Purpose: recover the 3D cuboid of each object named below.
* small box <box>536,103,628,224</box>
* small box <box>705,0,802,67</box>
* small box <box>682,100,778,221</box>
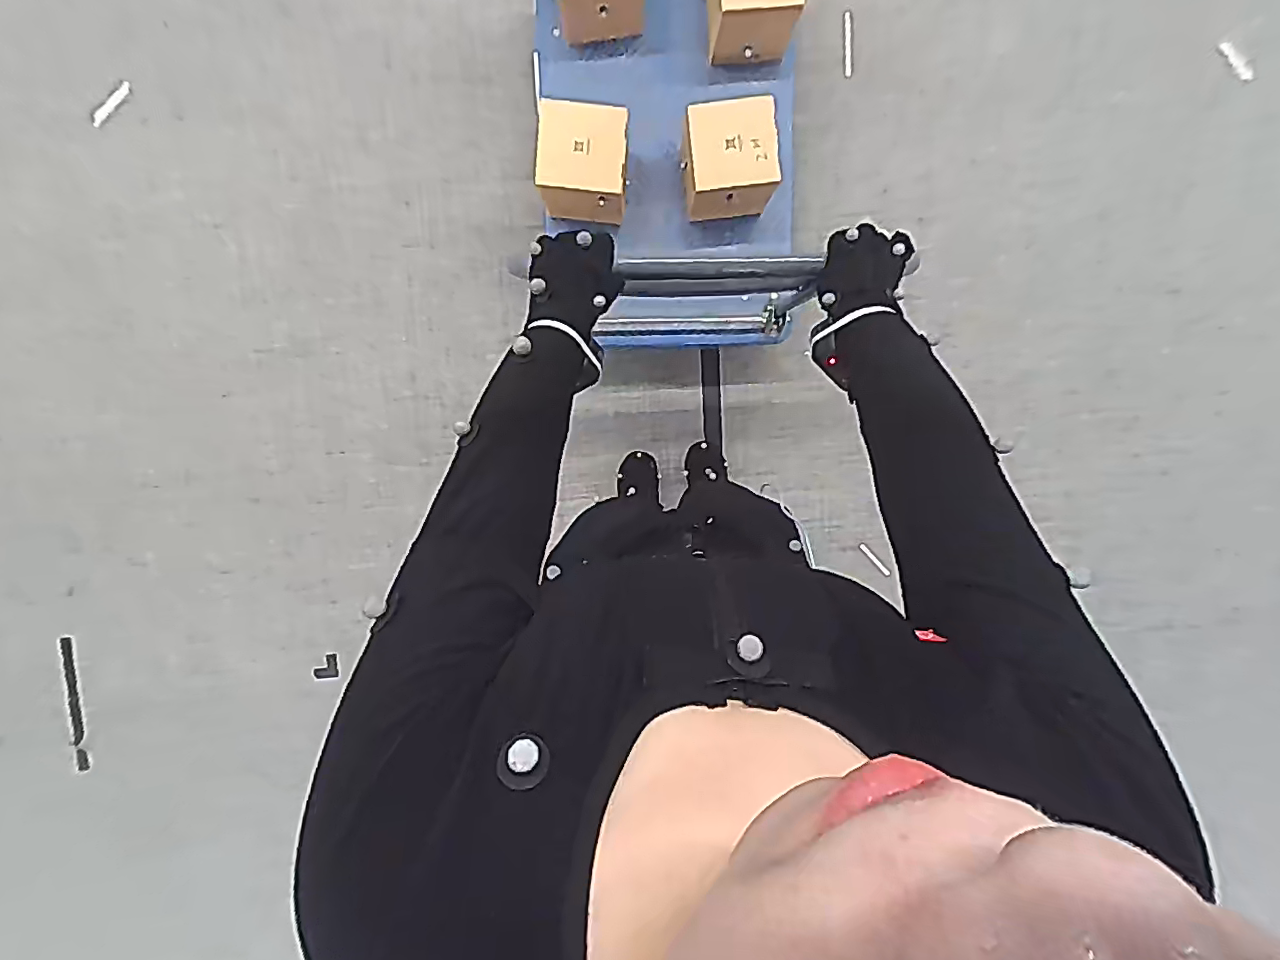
[{"bbox_3d":[-0.119,-0.669,1.162,0.179,0.176,0.168,4,96,-3],"label":"small box"},{"bbox_3d":[0.231,-1.012,1.131,0.168,0.176,0.179,-4,97,0],"label":"small box"},{"bbox_3d":[0.185,-0.677,1.166,0.179,0.176,0.168,-7,96,0],"label":"small box"}]
